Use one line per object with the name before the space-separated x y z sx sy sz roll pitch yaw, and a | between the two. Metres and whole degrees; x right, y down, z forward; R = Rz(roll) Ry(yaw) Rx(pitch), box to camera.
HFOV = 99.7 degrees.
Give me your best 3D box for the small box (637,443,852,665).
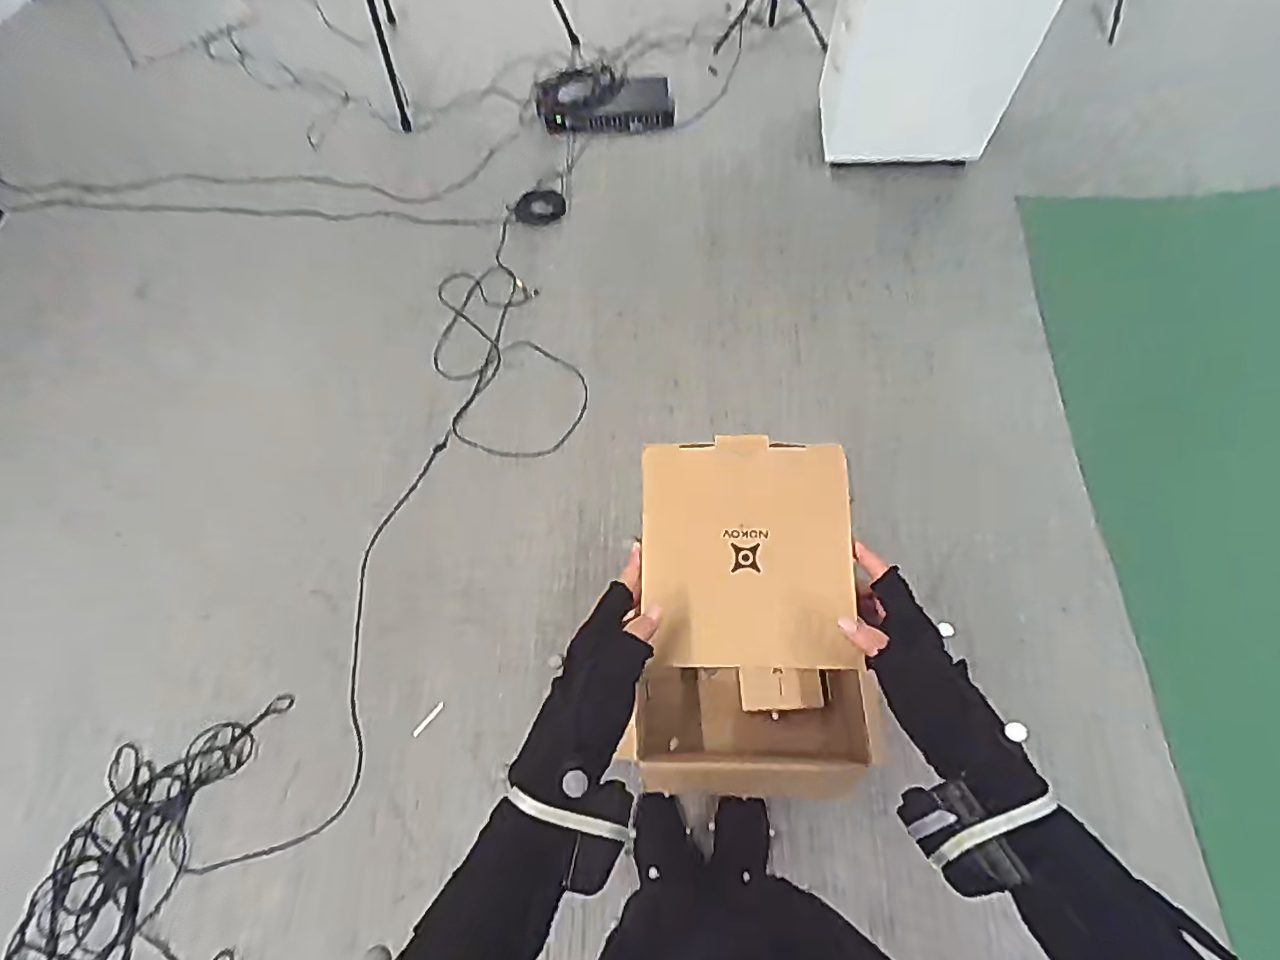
small box | 0.083 0.071 0.506 0.168 0.176 0.179 -1 78 1
